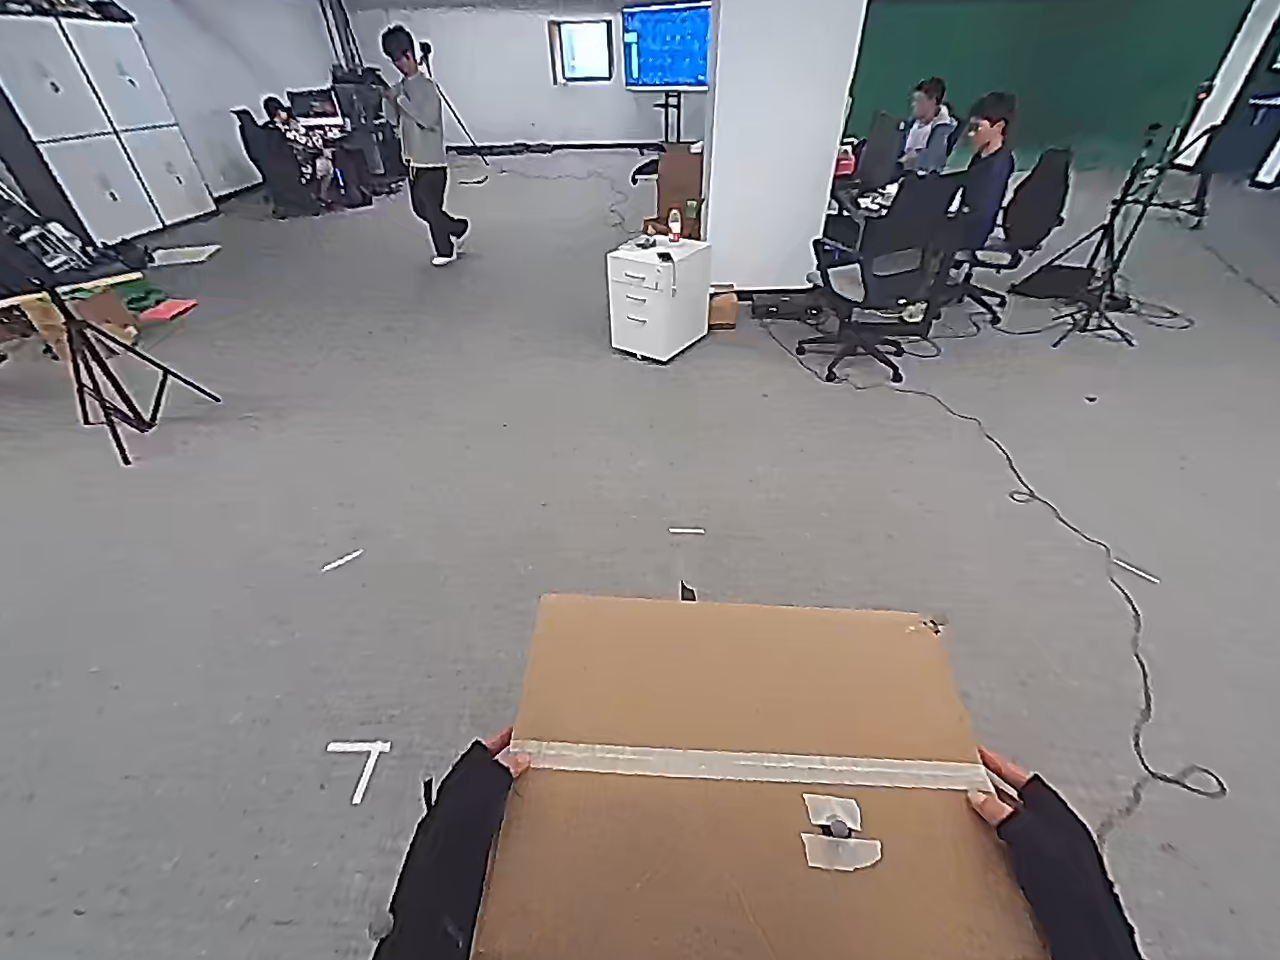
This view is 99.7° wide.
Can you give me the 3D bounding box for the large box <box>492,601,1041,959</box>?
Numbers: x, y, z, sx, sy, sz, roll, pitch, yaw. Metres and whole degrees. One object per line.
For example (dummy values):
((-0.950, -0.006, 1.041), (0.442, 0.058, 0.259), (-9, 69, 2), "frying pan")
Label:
((0.089, 0.348, 0.585), (0.408, 0.320, 0.320), (2, 48, 1), "large box")
